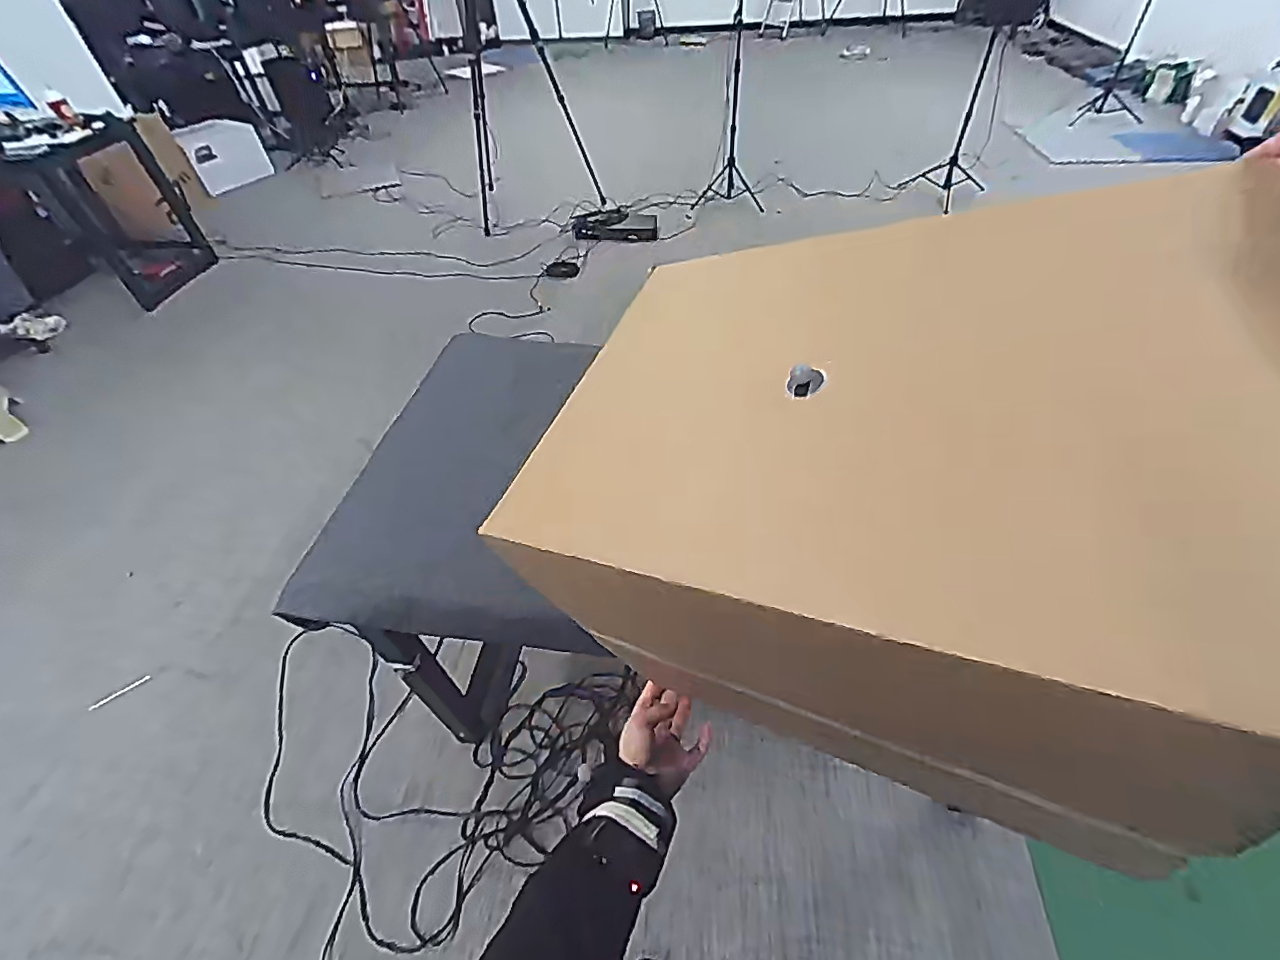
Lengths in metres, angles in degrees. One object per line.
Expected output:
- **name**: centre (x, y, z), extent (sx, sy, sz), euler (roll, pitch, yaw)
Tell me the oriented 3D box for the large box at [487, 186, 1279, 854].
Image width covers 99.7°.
- **large box**: centre (0.169, 0.032, 0.437), extent (0.408, 0.320, 0.320), euler (6, 56, 36)
